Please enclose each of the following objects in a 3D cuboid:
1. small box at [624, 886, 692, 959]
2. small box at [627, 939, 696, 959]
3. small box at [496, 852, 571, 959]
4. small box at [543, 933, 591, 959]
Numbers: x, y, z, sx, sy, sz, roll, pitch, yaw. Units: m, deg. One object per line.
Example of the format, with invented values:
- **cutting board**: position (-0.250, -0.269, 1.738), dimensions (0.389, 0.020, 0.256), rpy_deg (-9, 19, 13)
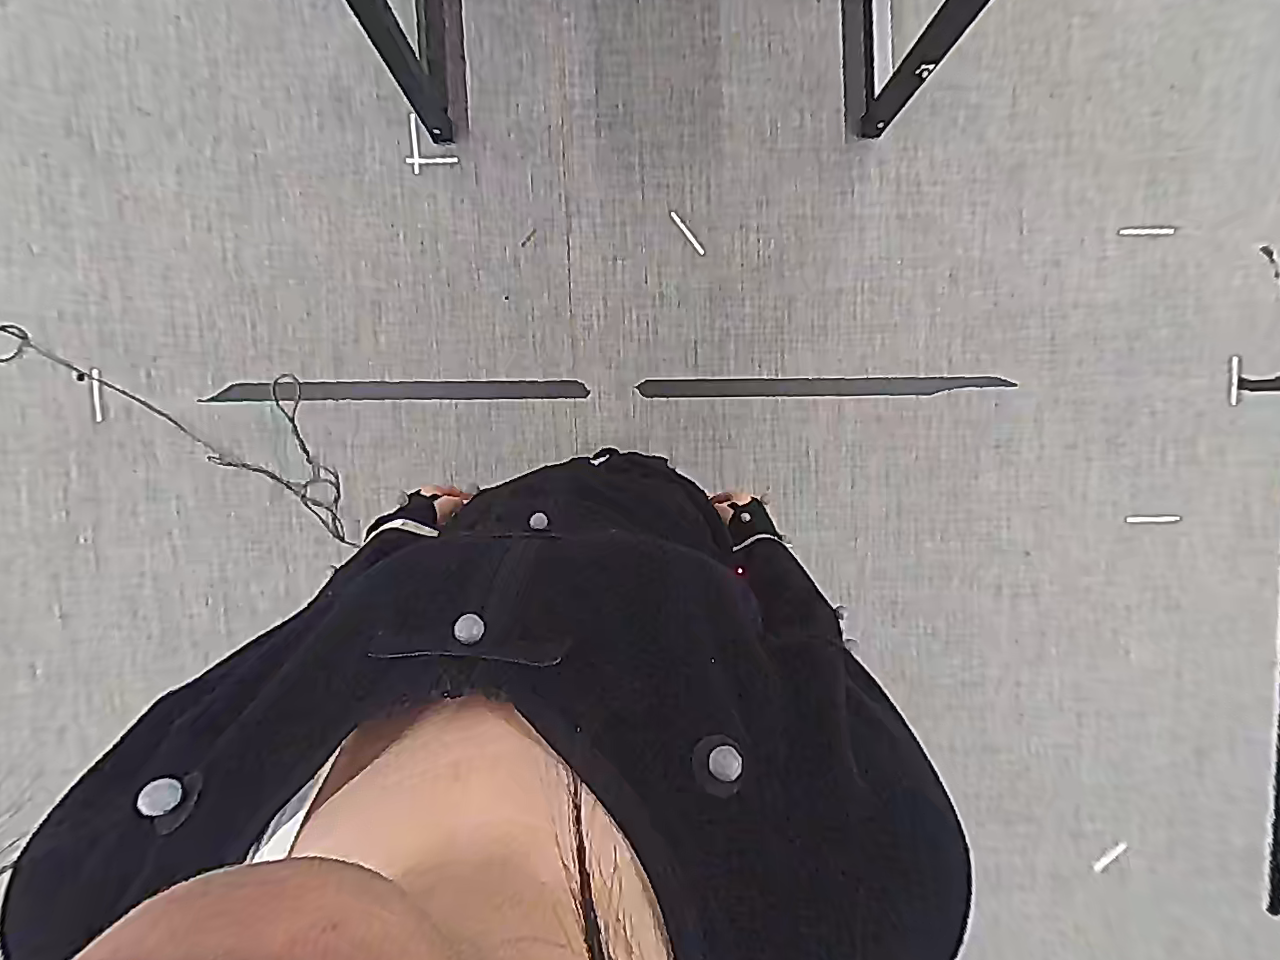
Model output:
- **small box**: position (0.044, 1.254, 1.479), dimensions (0.179, 0.176, 0.168), rpy_deg (0, 93, -3)
- **small box**: position (0.052, 1.266, 1.315), dimensions (0.179, 0.176, 0.168), rpy_deg (1, 94, -3)
- **small box**: position (-0.282, 1.143, 1.460), dimensions (0.168, 0.176, 0.179), rpy_deg (-7, 94, -2)
- **small box**: position (-0.226, 1.398, 1.480), dimensions (0.179, 0.176, 0.168), rpy_deg (-7, 95, -2)
